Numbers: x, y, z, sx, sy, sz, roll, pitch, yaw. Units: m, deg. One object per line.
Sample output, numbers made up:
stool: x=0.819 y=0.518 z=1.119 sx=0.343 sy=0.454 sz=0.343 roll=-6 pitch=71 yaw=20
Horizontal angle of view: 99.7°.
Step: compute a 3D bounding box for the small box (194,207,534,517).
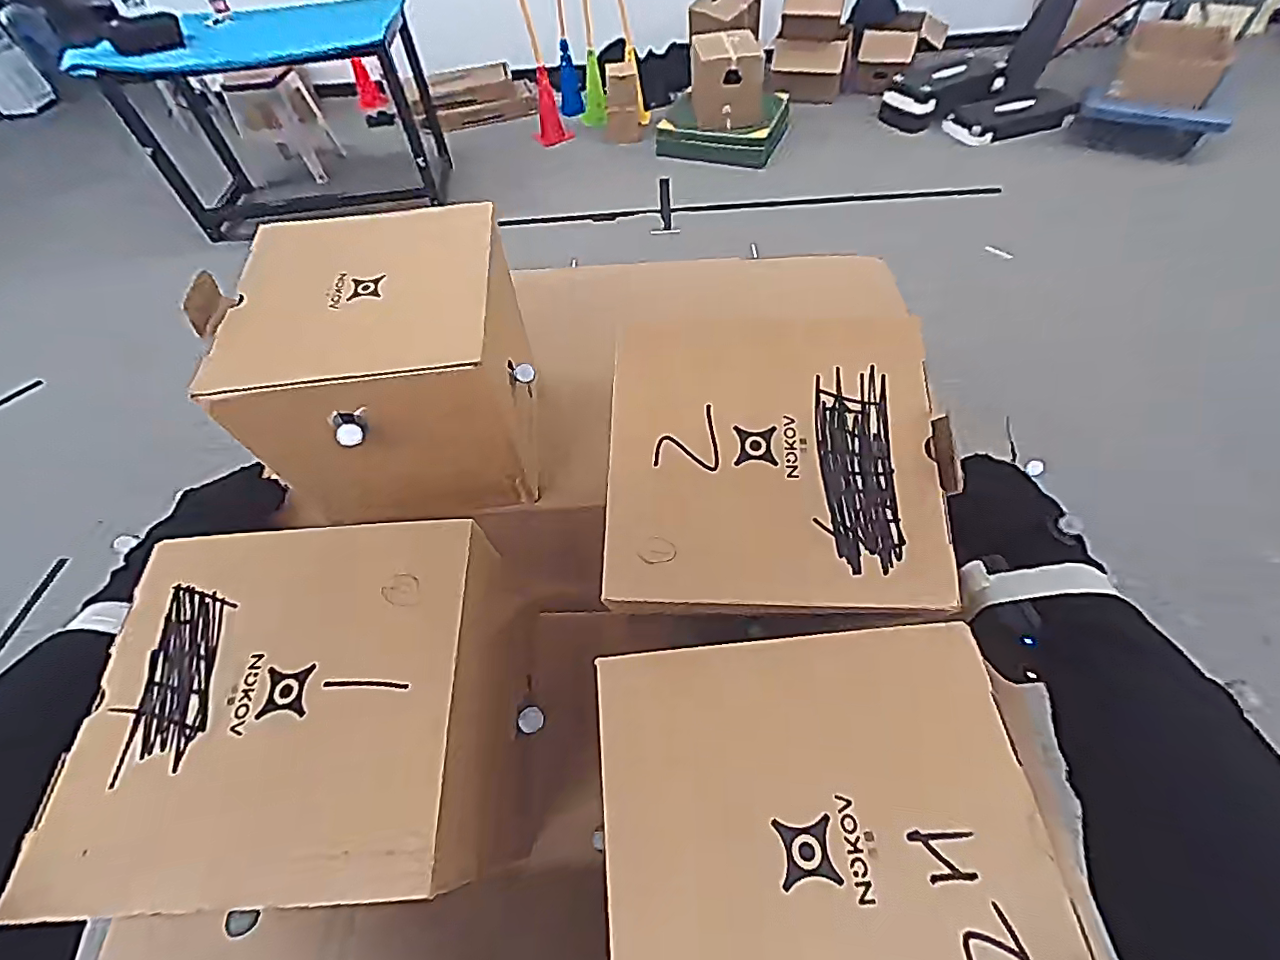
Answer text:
small box: x=-0.185 y=-0.085 z=0.433 sx=0.179 sy=0.176 sz=0.168 roll=-7 pitch=58 yaw=0
